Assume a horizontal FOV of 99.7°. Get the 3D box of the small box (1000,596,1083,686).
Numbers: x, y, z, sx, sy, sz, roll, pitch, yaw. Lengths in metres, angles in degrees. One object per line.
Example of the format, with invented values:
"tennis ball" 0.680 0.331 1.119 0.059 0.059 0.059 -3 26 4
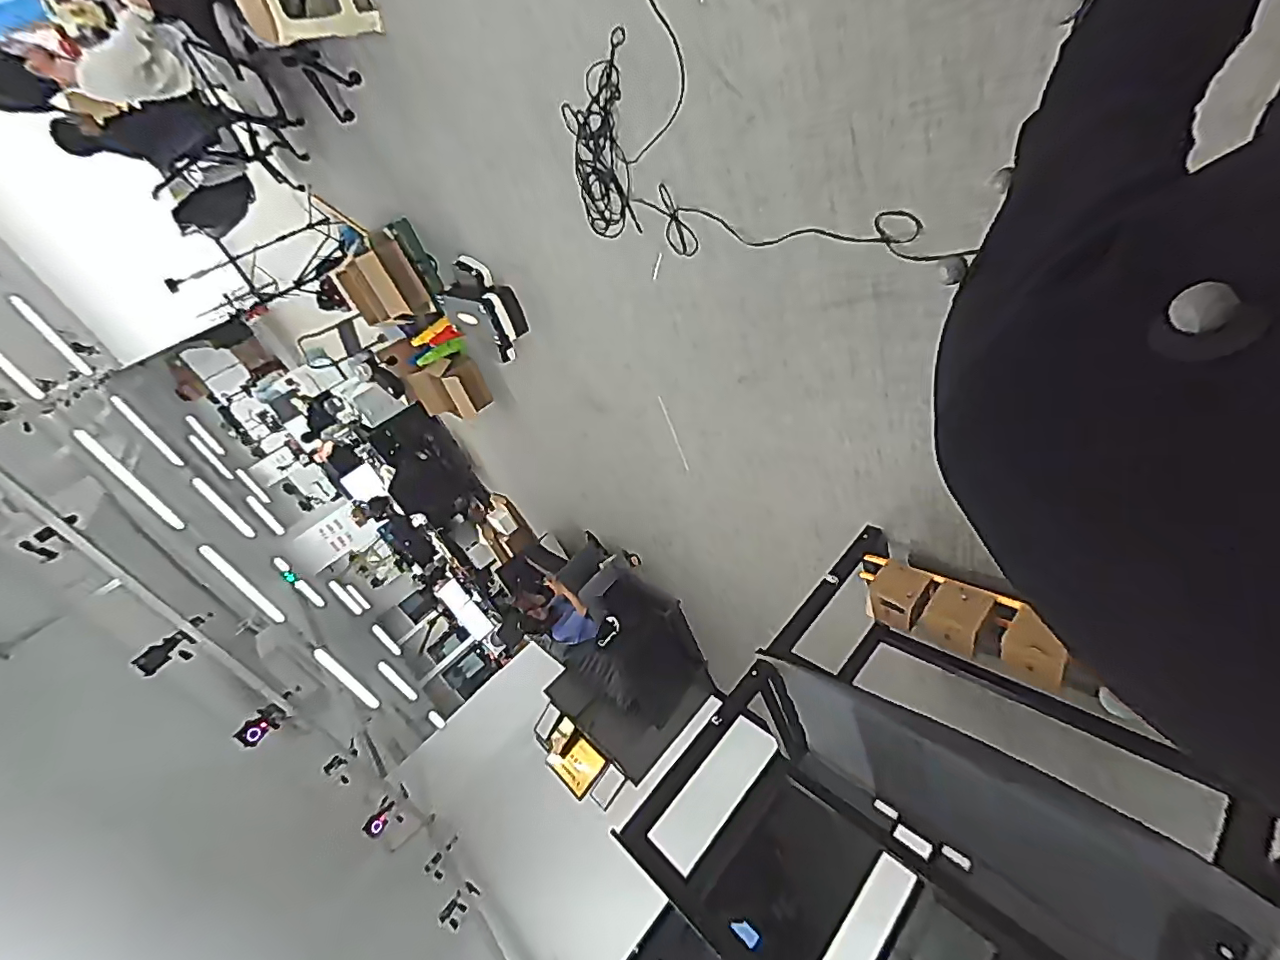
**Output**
"small box" 1.270 0.505 1.711 0.168 0.176 0.179 21 141 48
